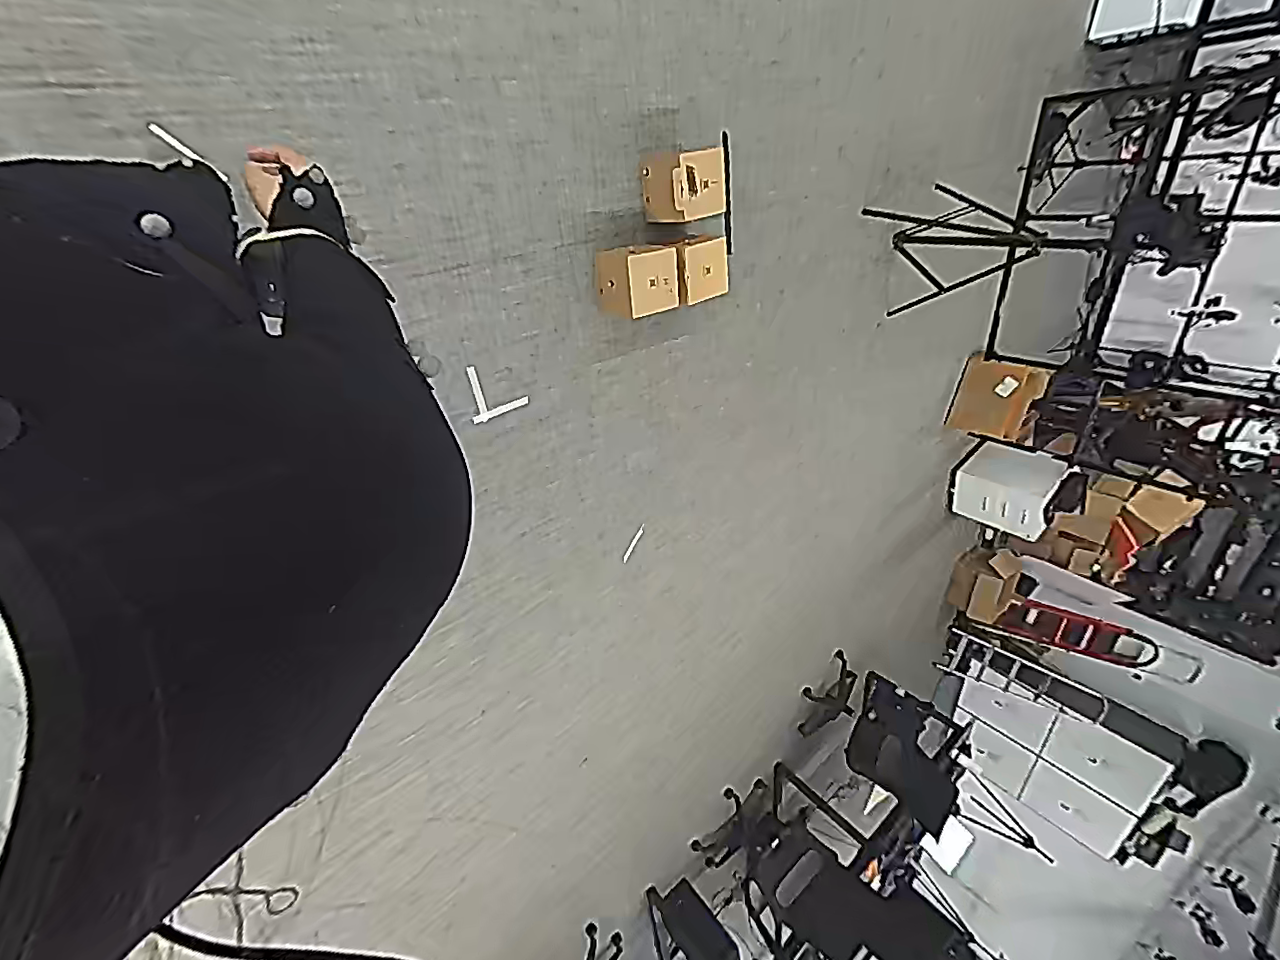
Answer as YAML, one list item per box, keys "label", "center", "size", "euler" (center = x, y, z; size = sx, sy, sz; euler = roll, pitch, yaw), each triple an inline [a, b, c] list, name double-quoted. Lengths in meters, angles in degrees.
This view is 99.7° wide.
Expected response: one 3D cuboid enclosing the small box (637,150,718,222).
- label: "small box"
  center: [0.105, -0.846, 1.562]
  size: [0.179, 0.176, 0.168]
  euler: [-28, 127, -31]
